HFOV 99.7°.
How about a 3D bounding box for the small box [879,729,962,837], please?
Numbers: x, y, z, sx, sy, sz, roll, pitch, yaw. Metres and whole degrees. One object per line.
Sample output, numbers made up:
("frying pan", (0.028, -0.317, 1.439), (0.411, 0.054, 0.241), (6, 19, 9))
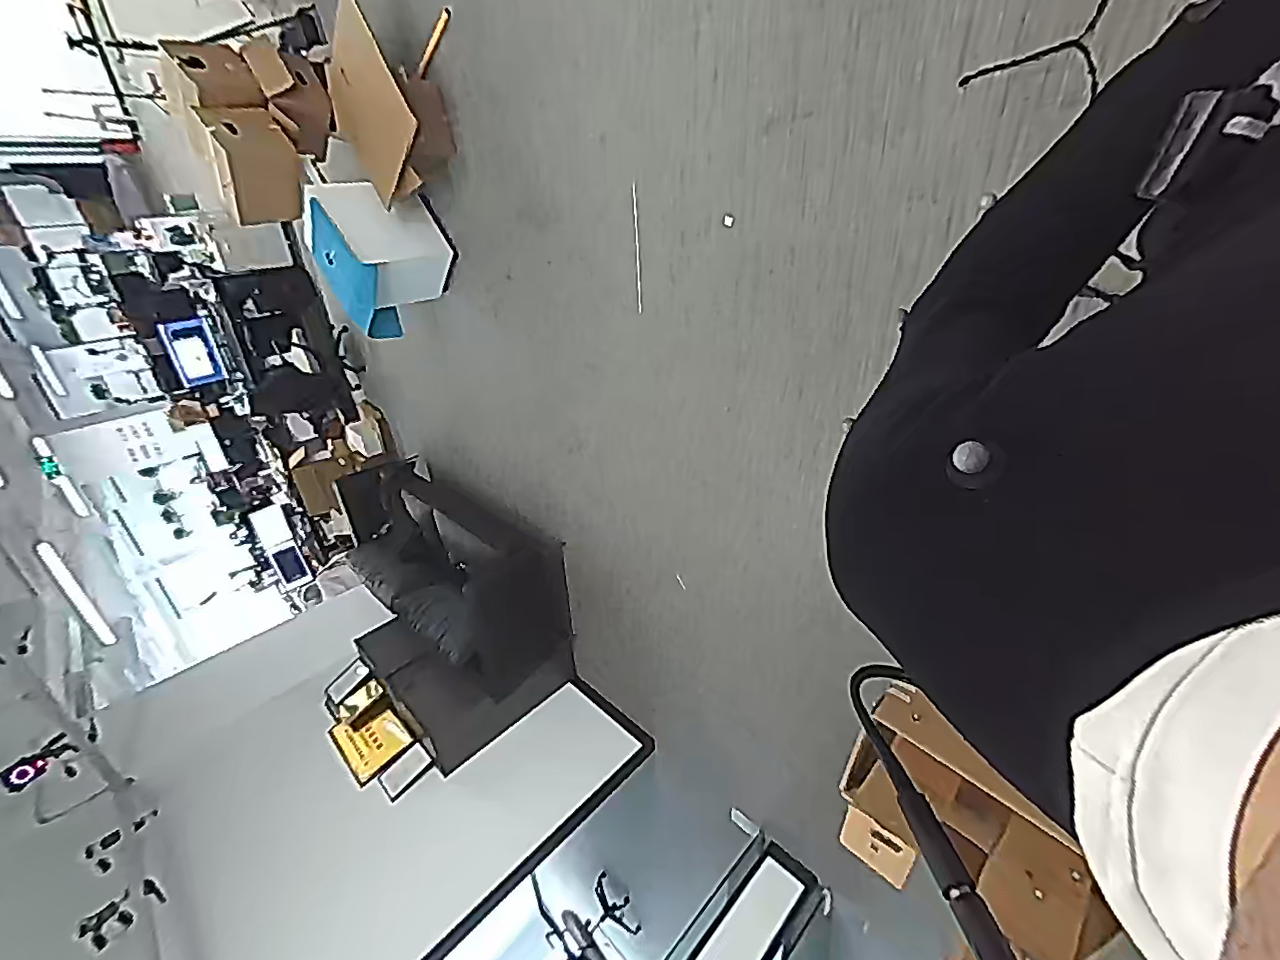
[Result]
("small box", (0.744, 0.828, 1.471), (0.168, 0.176, 0.179), (30, 131, 35))

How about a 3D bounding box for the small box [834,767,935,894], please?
("small box", (0.622, 0.877, 1.371), (0.168, 0.176, 0.179), (26, 129, 38))

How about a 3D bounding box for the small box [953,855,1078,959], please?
("small box", (0.832, 0.995, 1.198), (0.168, 0.176, 0.179), (26, 129, 37))

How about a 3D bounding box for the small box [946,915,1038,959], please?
("small box", (0.717, 1.050, 1.097), (0.168, 0.176, 0.179), (26, 129, 36))
